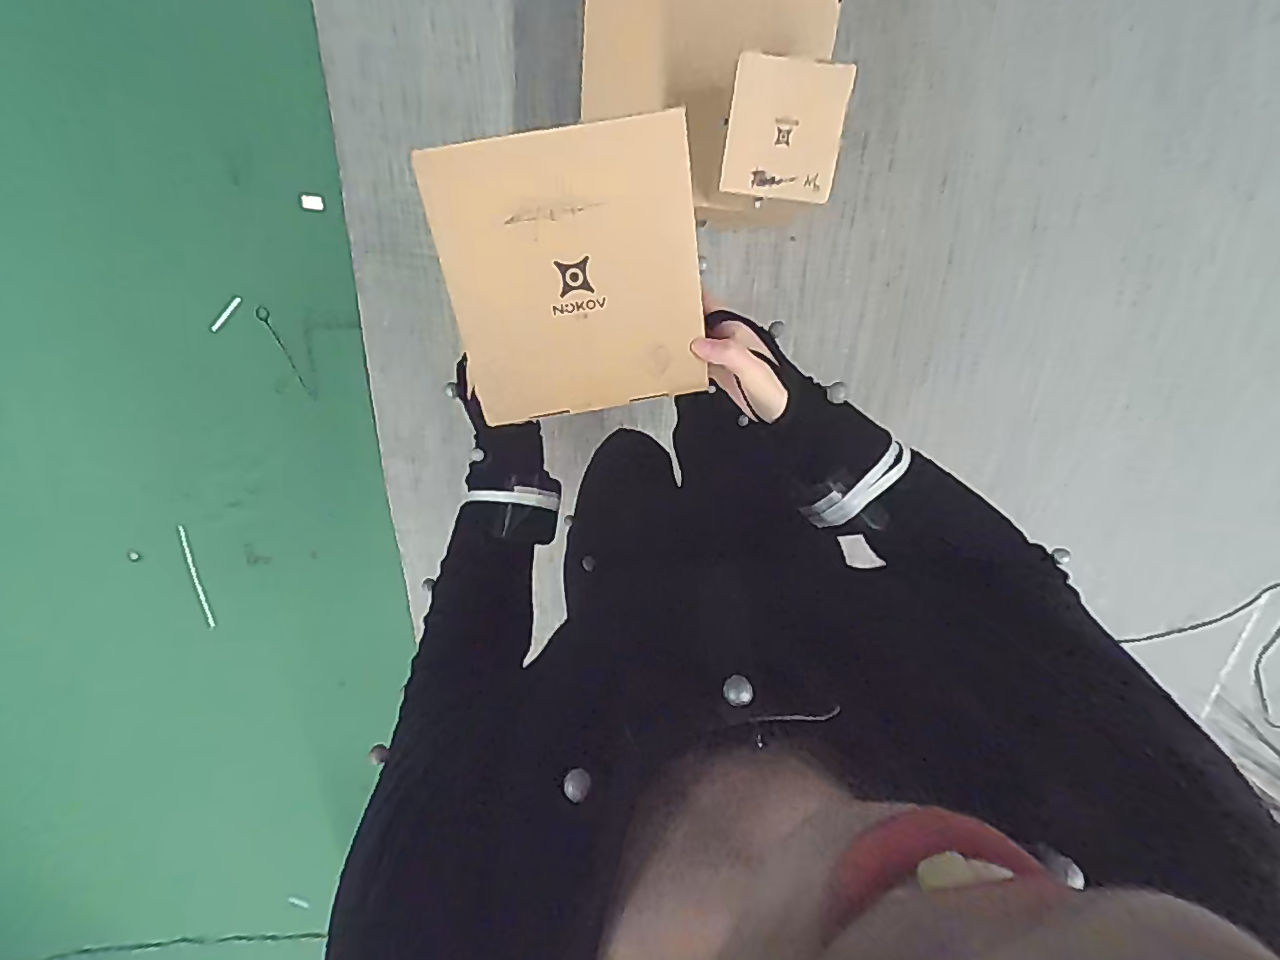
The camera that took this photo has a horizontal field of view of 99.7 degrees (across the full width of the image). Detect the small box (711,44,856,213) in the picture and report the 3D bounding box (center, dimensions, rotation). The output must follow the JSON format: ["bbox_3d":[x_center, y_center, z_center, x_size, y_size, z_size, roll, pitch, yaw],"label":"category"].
[{"bbox_3d":[0.208,-0.529,0.840,0.168,0.176,0.179,7,110,-1],"label":"small box"}]

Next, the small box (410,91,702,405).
[{"bbox_3d":[-0.050,-0.176,0.425,0.168,0.176,0.179,-9,115,-1],"label":"small box"}]
